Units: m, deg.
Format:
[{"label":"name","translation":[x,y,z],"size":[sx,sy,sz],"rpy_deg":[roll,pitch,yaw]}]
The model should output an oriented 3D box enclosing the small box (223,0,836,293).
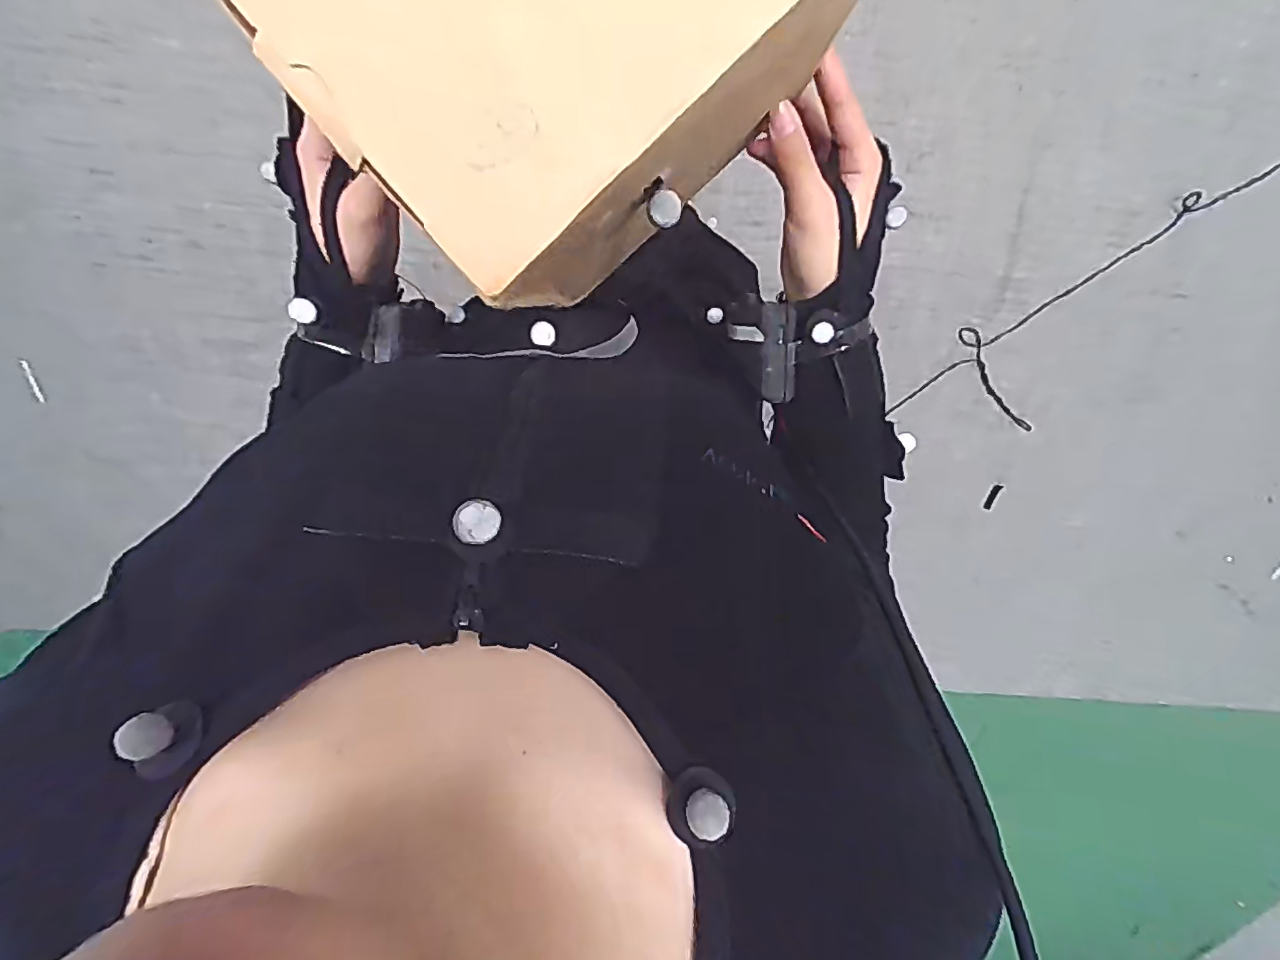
[{"label":"small box","translation":[-0.033,-0.197,0.226],"size":[0.179,0.176,0.168],"rpy_deg":[-38,101,14]}]
